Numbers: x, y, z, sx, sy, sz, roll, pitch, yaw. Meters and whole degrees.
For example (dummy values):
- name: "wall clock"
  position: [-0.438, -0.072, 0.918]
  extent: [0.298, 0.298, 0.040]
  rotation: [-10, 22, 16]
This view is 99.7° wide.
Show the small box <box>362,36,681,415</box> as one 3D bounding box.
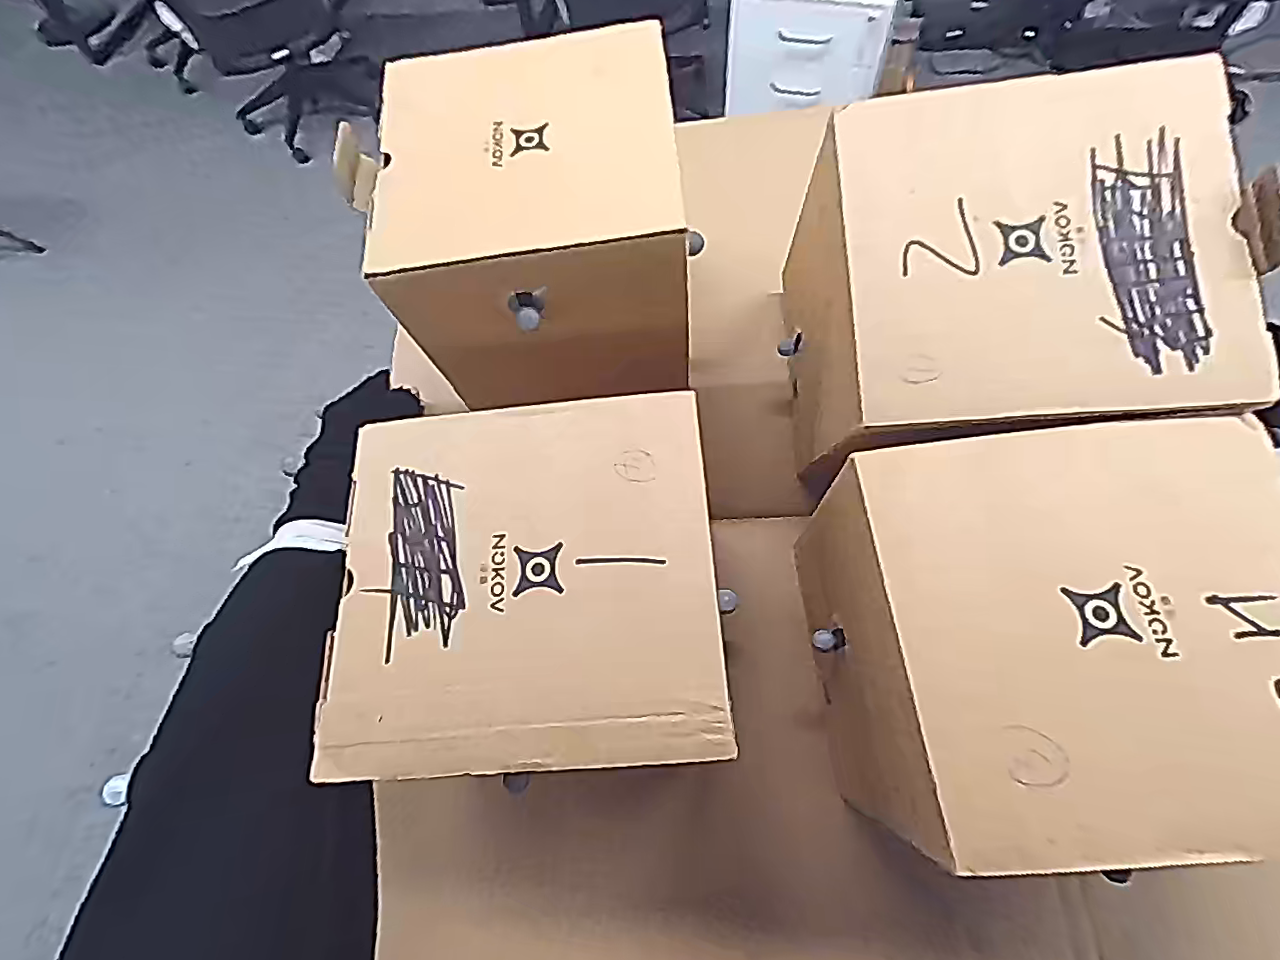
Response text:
- name: "small box"
  position: [-0.064, -0.162, 0.389]
  extent: [0.179, 0.176, 0.168]
  rotation: [-7, 70, 5]
